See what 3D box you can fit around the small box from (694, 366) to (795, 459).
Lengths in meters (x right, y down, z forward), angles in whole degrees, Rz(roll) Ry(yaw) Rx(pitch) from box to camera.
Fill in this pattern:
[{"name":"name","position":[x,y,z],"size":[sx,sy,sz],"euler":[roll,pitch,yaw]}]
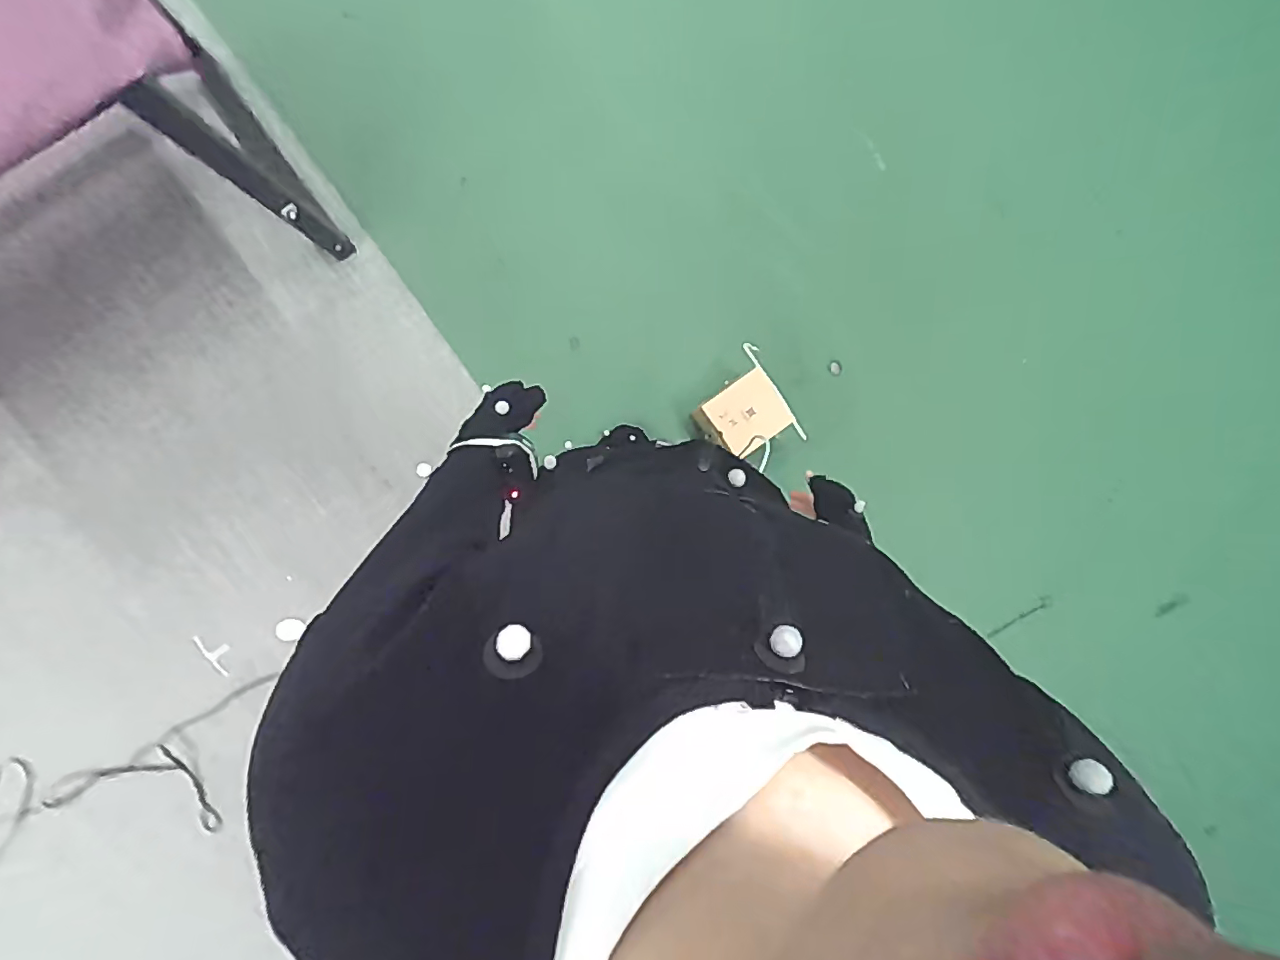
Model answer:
[{"name":"small box","position":[0.262,-0.171,1.400],"size":[0.179,0.176,0.168],"euler":[-35,95,-1]}]
